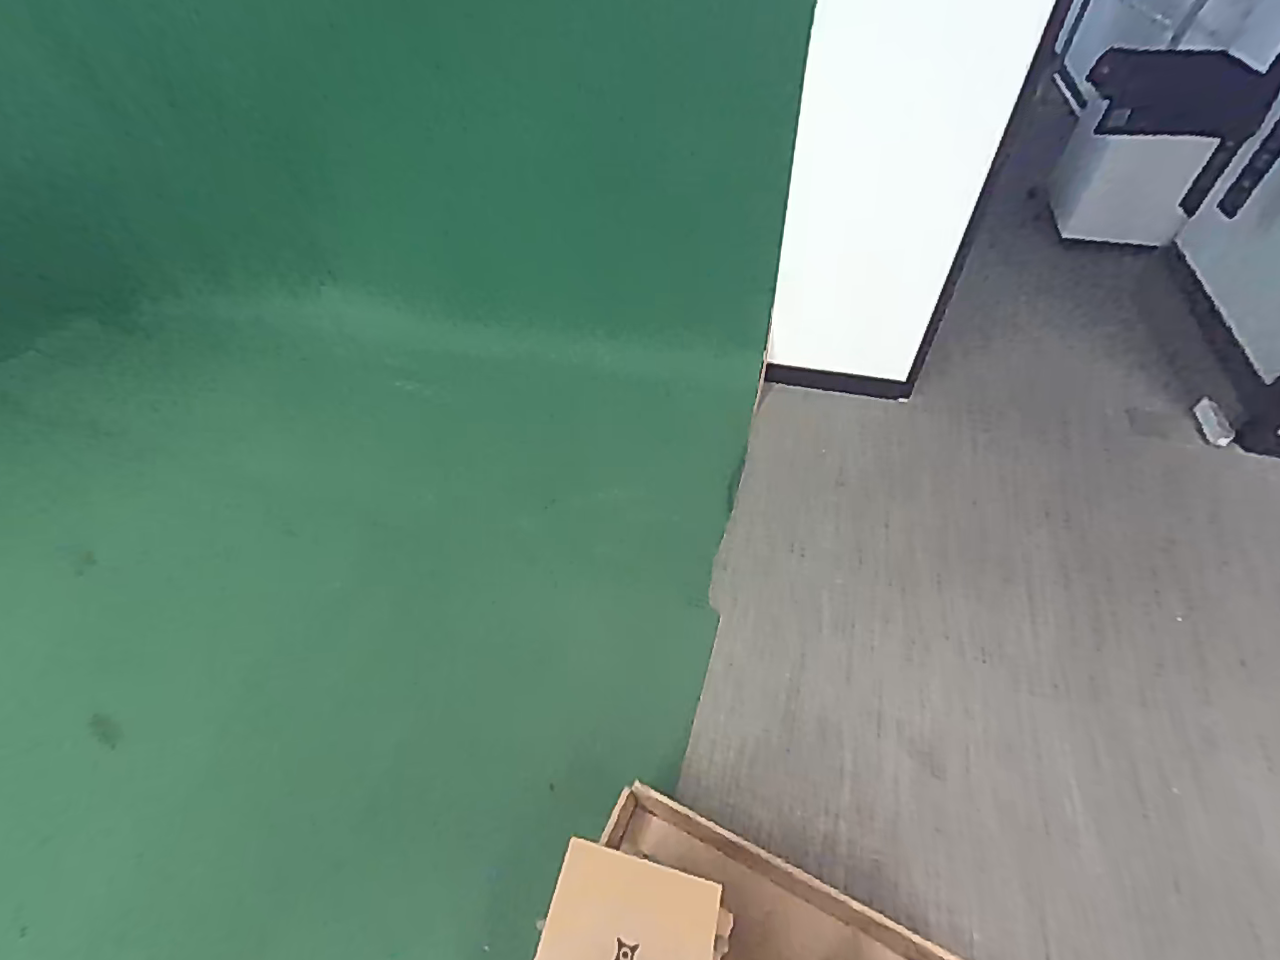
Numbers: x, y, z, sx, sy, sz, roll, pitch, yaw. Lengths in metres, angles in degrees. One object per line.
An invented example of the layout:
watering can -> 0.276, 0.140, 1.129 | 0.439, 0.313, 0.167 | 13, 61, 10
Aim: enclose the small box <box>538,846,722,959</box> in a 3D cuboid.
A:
small box -> -0.017, 0.518, 0.563 | 0.168, 0.176, 0.179 | 11, 50, 10
